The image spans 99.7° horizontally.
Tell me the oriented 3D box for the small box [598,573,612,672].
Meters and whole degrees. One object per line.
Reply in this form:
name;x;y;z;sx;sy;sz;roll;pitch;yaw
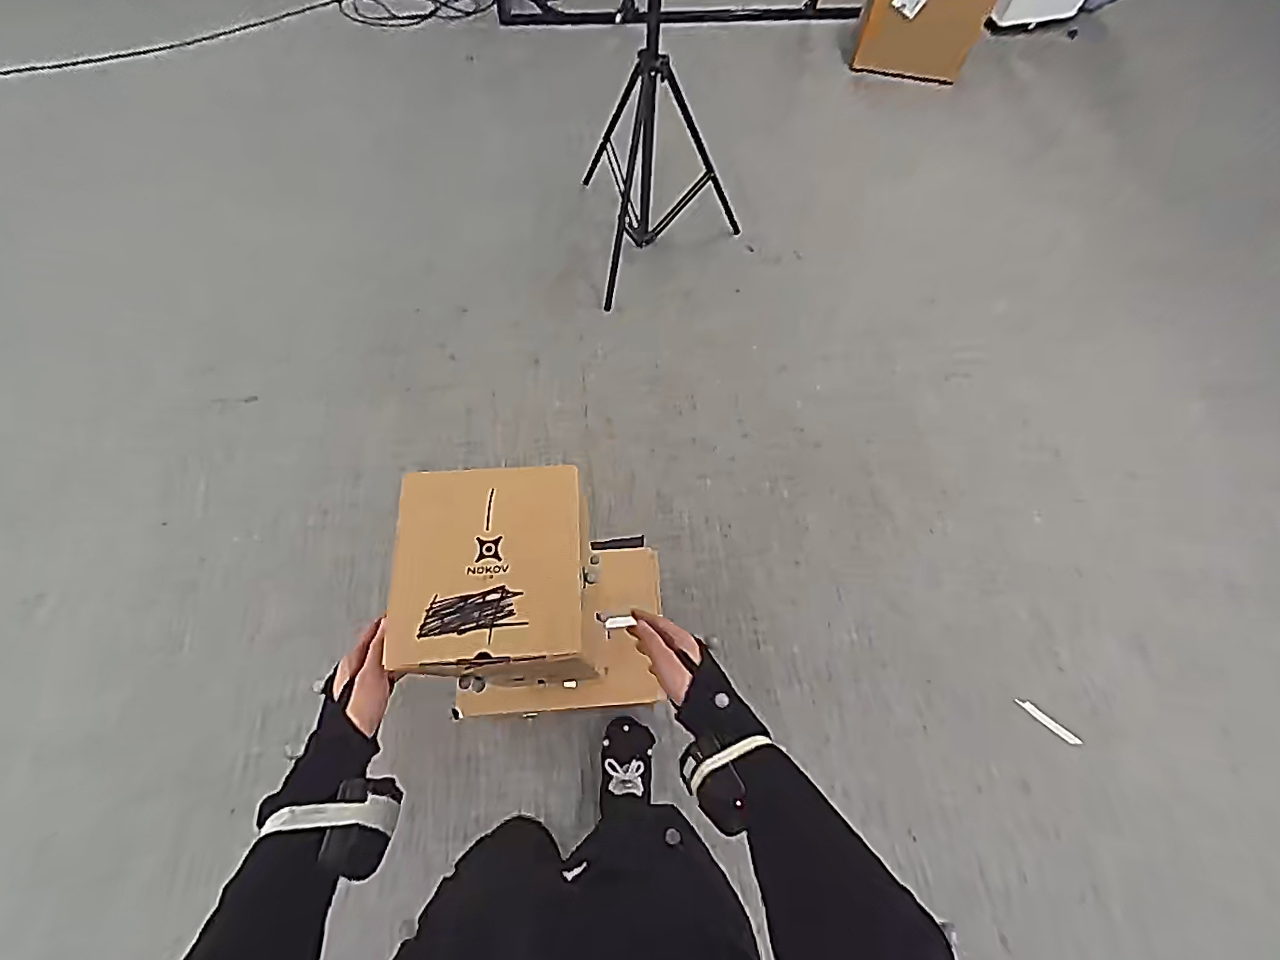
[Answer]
small box;-0.146;0.279;1.009;0.179;0.176;0.168;-5;68;-5

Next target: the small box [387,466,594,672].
small box;-0.134;0.100;0.552;0.168;0.176;0.179;-3;67;-3

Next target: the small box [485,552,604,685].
small box;-0.144;0.224;0.856;0.168;0.176;0.179;-5;69;-4
